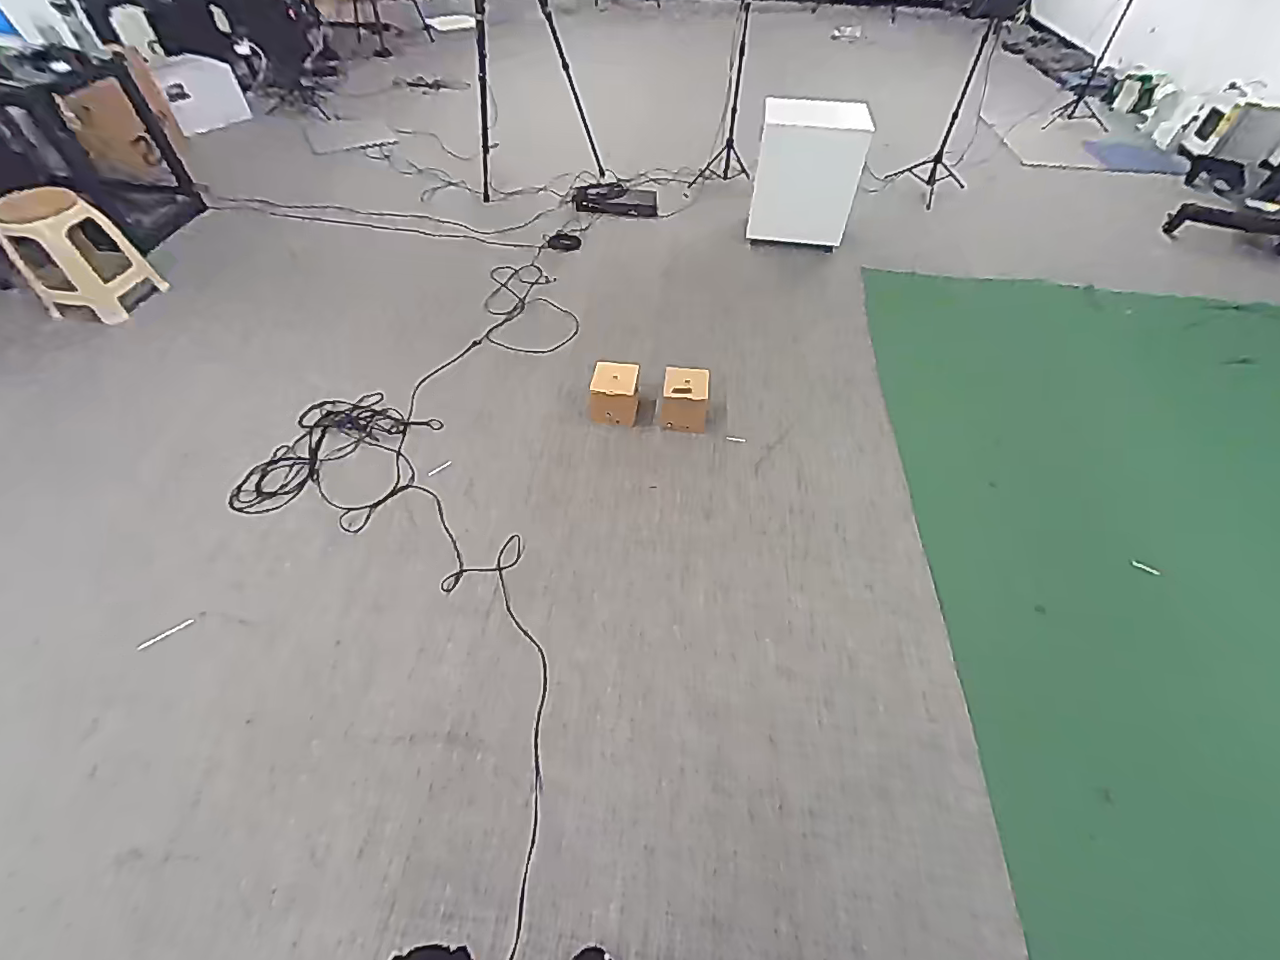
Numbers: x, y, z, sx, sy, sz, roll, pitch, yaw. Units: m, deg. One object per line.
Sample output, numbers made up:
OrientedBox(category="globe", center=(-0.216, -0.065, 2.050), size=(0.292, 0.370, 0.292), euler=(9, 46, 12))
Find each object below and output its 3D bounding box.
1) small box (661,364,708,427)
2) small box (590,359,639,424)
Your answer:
OrientedBox(category="small box", center=(0.169, -0.322, 2.078), size=(0.168, 0.176, 0.179), euler=(5, 50, 4))
OrientedBox(category="small box", center=(-0.096, -0.343, 2.094), size=(0.168, 0.176, 0.179), euler=(6, 51, 4))
